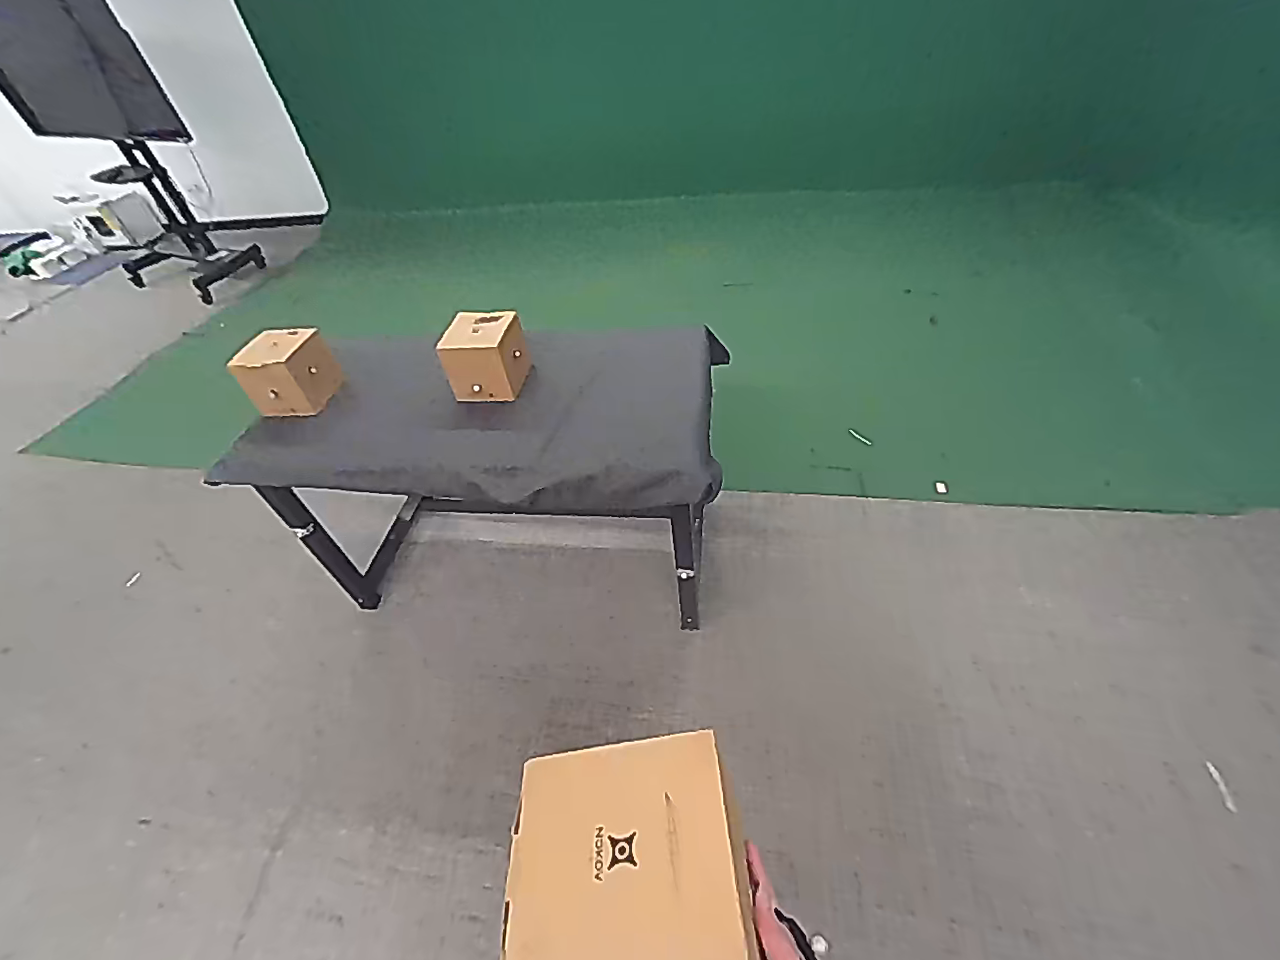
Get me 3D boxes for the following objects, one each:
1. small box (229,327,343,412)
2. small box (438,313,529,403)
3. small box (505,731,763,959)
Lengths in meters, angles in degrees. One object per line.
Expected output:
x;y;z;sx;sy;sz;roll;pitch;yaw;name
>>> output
-0.956;-0.299;1.482;0.168;0.176;0.179;0;46;7;small box
-0.406;-0.327;1.442;0.168;0.176;0.179;2;47;9;small box
0.003;0.351;0.473;0.179;0.176;0.168;-12;39;6;small box
